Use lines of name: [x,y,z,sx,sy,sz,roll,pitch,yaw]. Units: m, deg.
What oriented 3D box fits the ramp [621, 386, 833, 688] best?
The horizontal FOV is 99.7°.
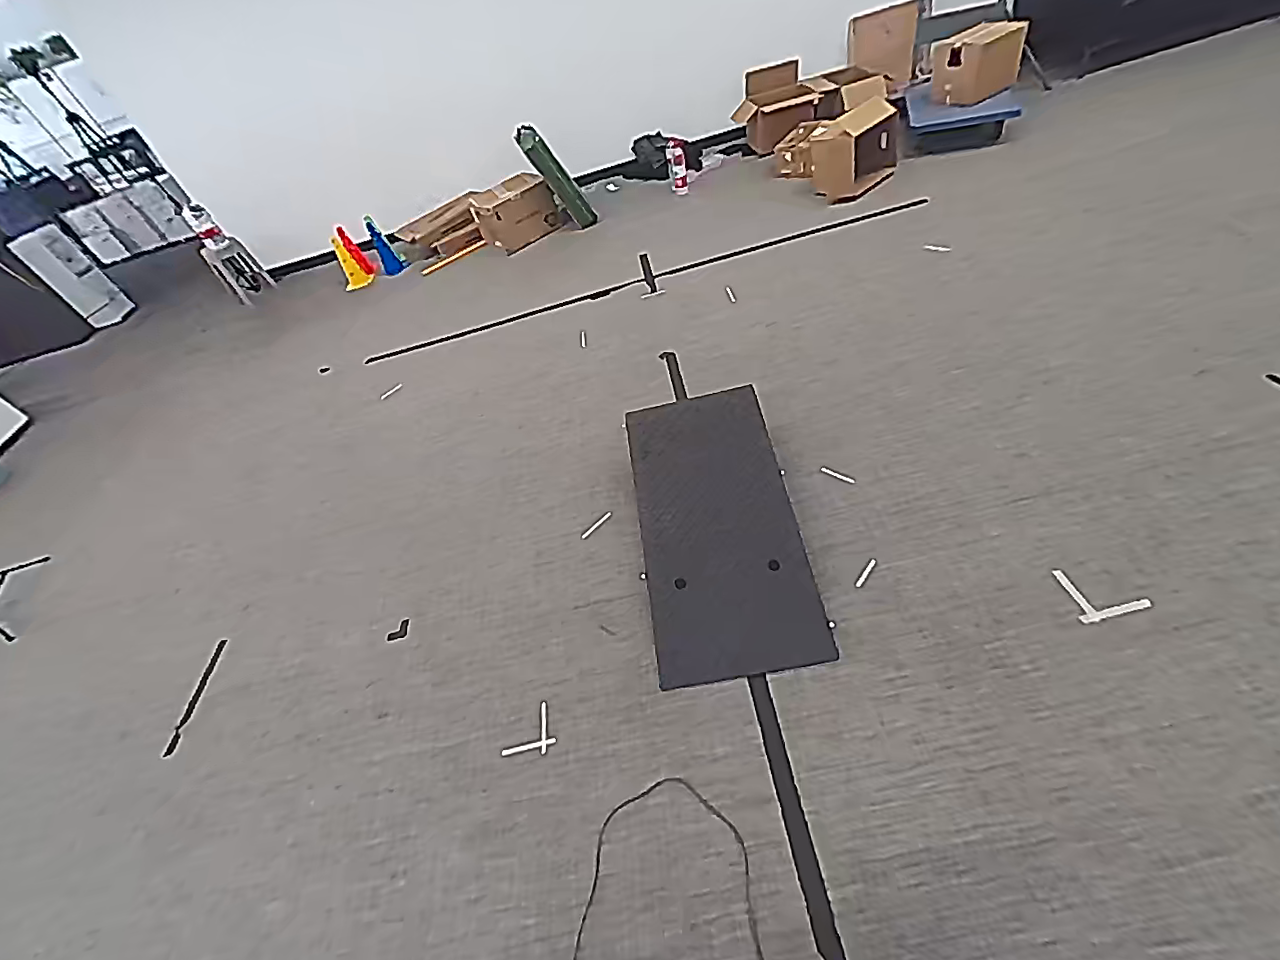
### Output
ramp: [0.229,0.118,1.748,0.509,0.206,0.991,-13,46,4]
